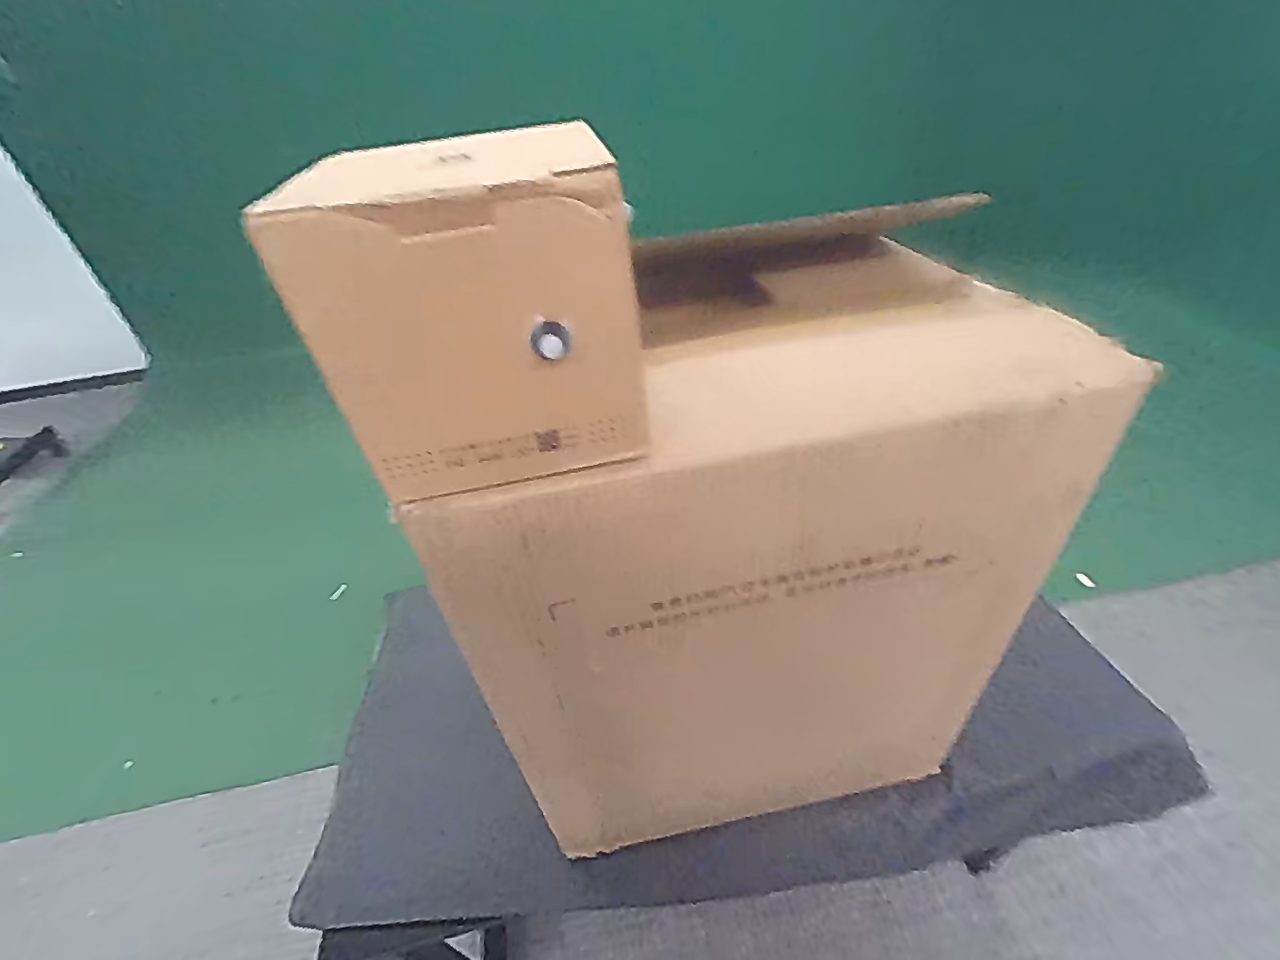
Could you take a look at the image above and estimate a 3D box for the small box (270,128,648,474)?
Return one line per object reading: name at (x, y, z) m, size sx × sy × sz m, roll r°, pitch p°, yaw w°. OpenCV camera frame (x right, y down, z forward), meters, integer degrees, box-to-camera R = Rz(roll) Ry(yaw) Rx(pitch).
small box at (-0.093, -0.118, 0.362) m, size 0.168 × 0.176 × 0.179 m, roll -10°, pitch 38°, yaw -4°
